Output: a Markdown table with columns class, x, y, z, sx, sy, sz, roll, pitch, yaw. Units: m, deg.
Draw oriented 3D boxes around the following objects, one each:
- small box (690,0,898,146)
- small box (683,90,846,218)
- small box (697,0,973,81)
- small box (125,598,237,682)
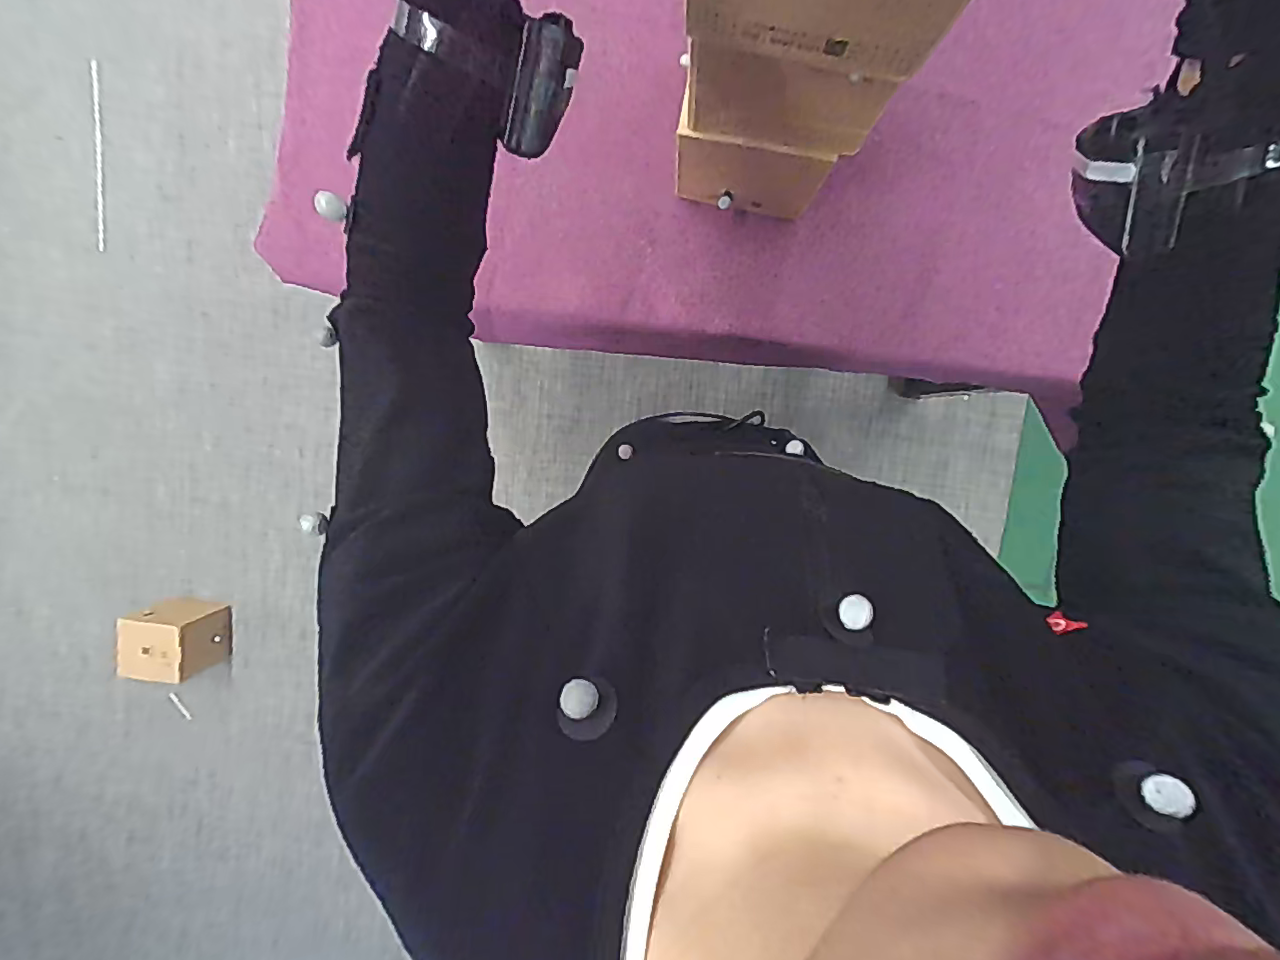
| class | x | y | z | sx | sy | sz | roll | pitch | yaw |
| --- | --- | --- | --- | --- | --- | --- | --- | --- | --- |
| small box | 0.140 | -0.408 | 0.445 | 0.179 | 0.176 | 0.168 | 10 | 97 | 2 |
| small box | 0.143 | -0.426 | 0.606 | 0.168 | 0.176 | 0.179 | 12 | 98 | 3 |
| small box | 0.128 | -0.368 | 0.287 | 0.168 | 0.176 | 0.179 | 14 | 97 | 2 |
| small box | -1.284 | 0.442 | 1.518 | 0.179 | 0.176 | 0.168 | 6 | 98 | 2 |
